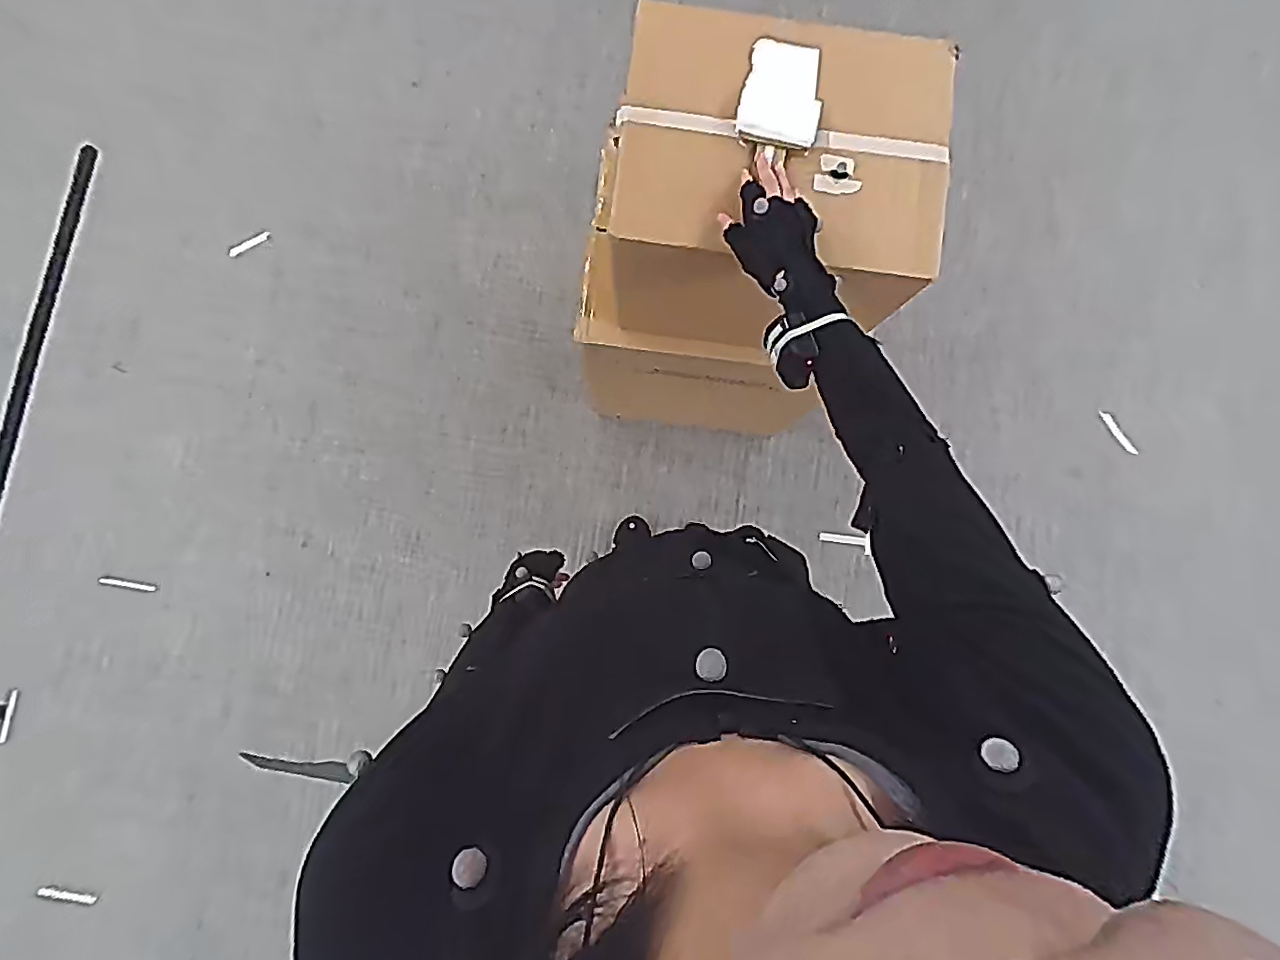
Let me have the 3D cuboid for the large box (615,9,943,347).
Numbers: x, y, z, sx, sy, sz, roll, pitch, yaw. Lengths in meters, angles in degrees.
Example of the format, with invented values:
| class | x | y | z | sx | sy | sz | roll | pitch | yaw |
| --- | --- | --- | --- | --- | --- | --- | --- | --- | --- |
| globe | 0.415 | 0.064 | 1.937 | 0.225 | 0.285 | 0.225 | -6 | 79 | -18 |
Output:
| class | x | y | z | sx | sy | sz | roll | pitch | yaw |
| --- | --- | --- | --- | --- | --- | --- | --- | --- | --- |
| large box | 0.174 | -0.419 | 0.828 | 0.408 | 0.320 | 0.320 | 7 | 86 | -1 |
